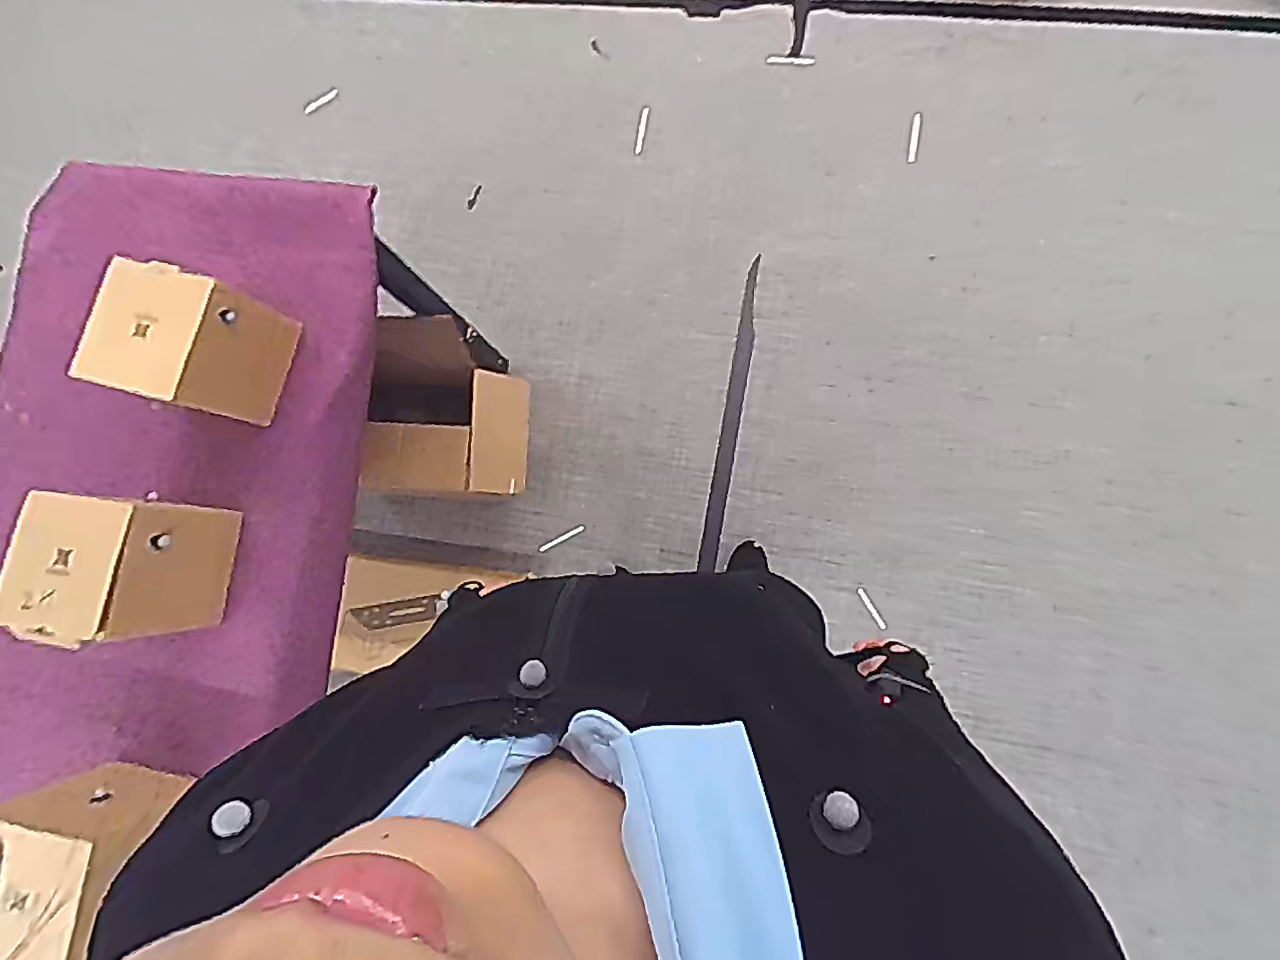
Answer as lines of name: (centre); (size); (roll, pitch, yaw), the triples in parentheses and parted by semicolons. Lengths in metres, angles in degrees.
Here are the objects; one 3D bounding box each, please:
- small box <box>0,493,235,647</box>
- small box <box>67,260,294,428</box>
small box: (-0.722, 0.122, 0.762); (0.168, 0.176, 0.179); (6, 83, 9)
small box: (-0.657, -0.188, 0.797); (0.168, 0.176, 0.179); (14, 84, 7)
